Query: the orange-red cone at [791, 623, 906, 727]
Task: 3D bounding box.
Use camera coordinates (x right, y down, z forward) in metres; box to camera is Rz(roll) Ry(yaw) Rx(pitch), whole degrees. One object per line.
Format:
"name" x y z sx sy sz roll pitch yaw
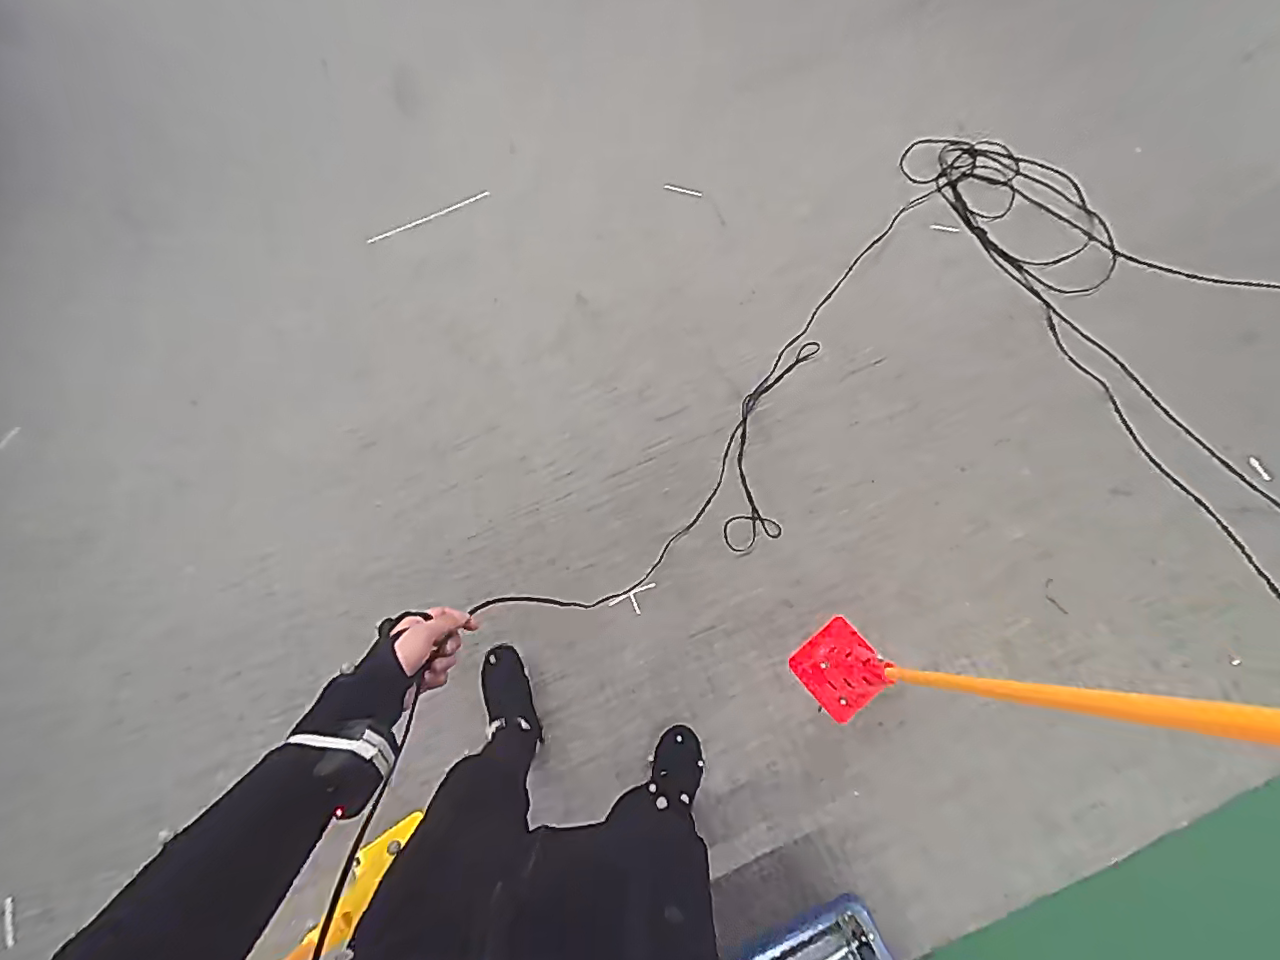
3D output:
"orange-red cone" 0.503 0.438 1.211 0.199 0.360 0.198 -37 74 -9
